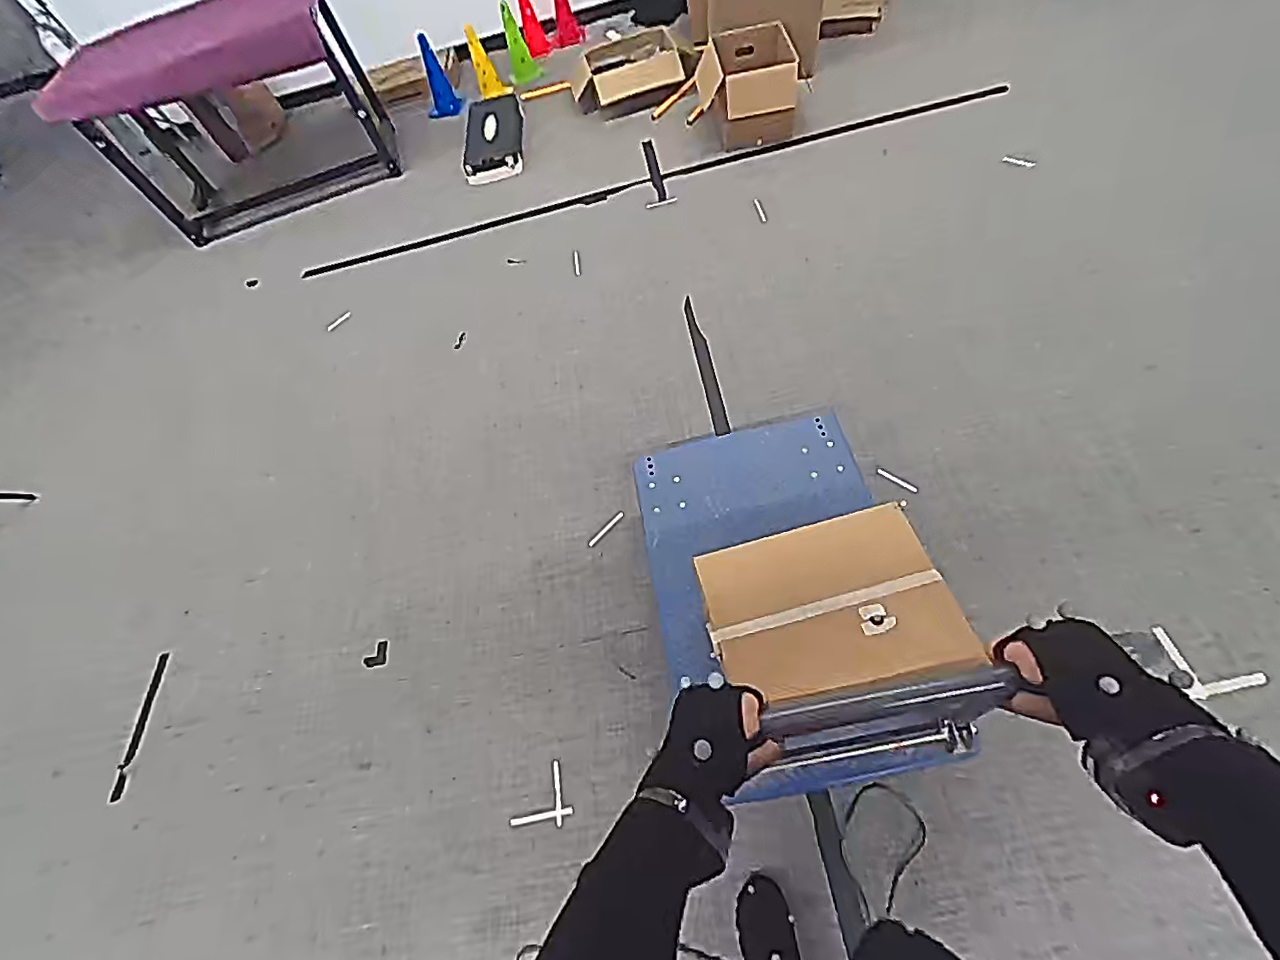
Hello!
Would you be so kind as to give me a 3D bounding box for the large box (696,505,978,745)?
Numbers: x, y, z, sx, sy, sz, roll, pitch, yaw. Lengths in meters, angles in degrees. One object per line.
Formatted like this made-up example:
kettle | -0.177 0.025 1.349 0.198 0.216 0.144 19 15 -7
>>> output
large box | 0.352 0.304 1.087 0.408 0.320 0.320 -16 58 1
